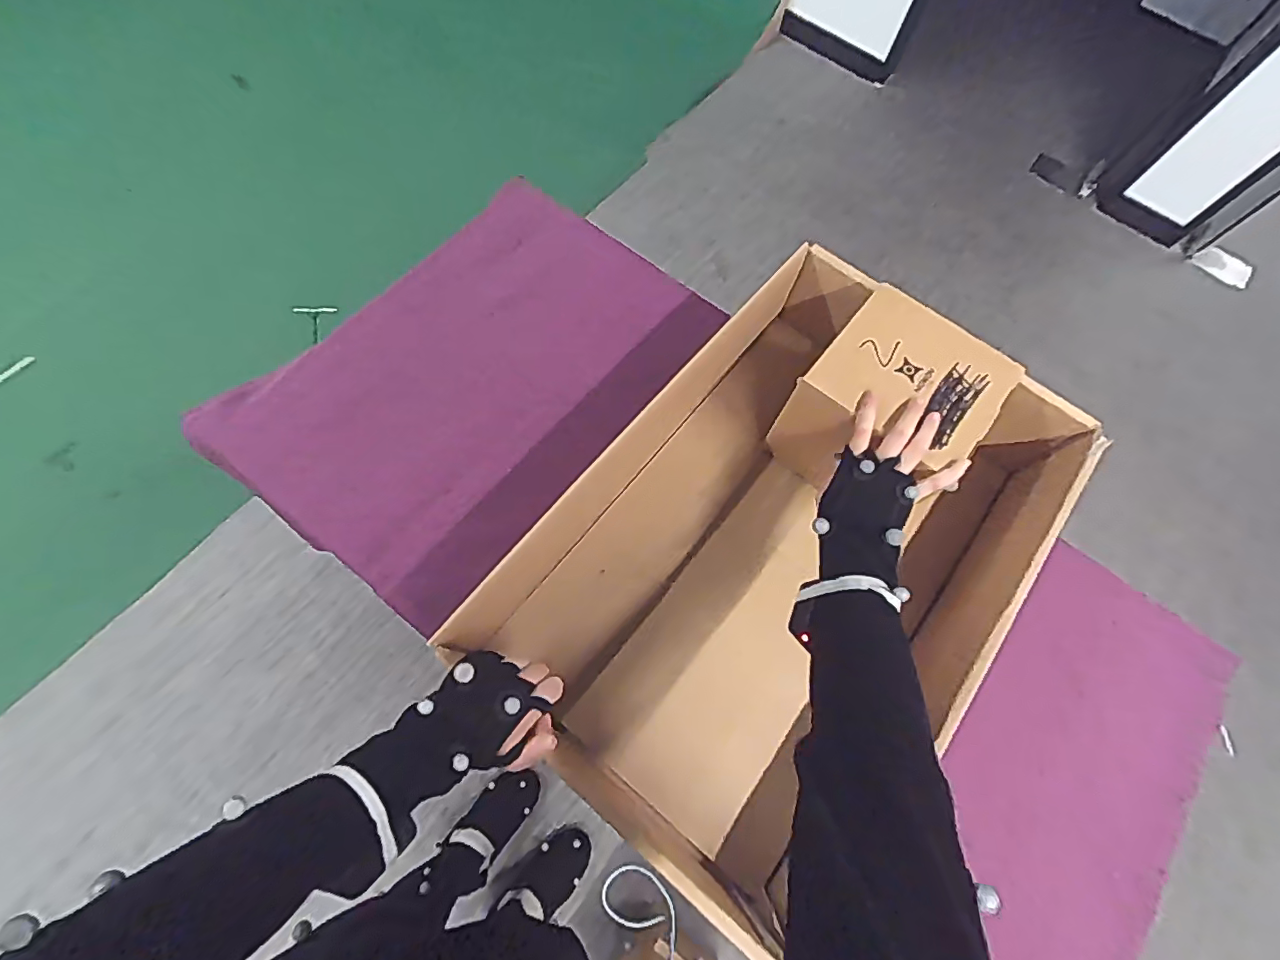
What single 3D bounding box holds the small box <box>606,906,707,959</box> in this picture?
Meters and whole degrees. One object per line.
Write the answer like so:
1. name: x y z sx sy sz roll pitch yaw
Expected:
1. small box: 0.035 0.991 1.056 0.179 0.176 0.168 37 72 10
